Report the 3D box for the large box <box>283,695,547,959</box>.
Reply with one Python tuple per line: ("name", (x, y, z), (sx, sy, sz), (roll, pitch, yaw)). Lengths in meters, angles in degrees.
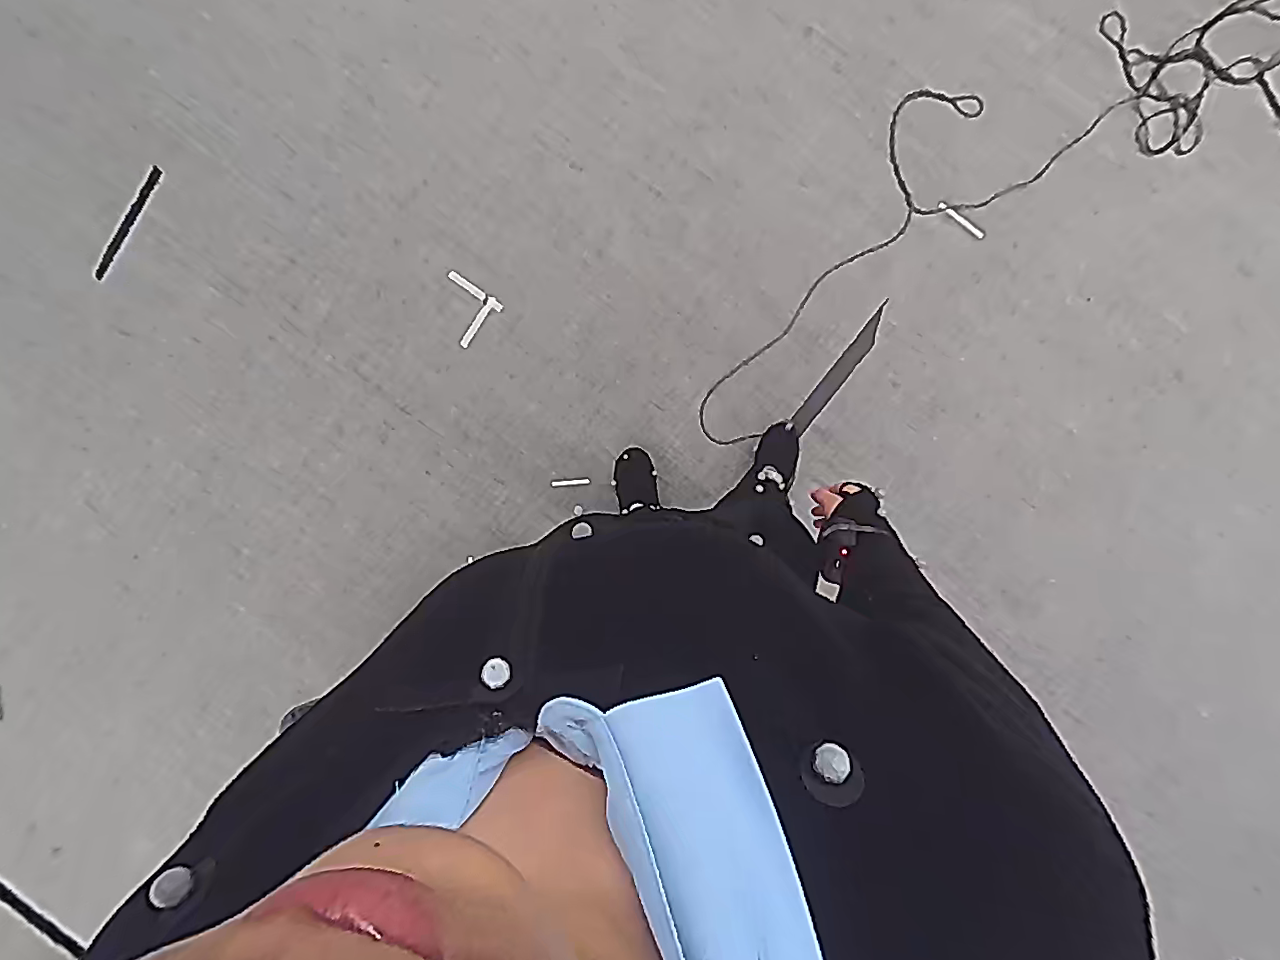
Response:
("large box", (-0.490, 0.790, 1.257), (0.408, 0.320, 0.320), (35, 95, 0))
